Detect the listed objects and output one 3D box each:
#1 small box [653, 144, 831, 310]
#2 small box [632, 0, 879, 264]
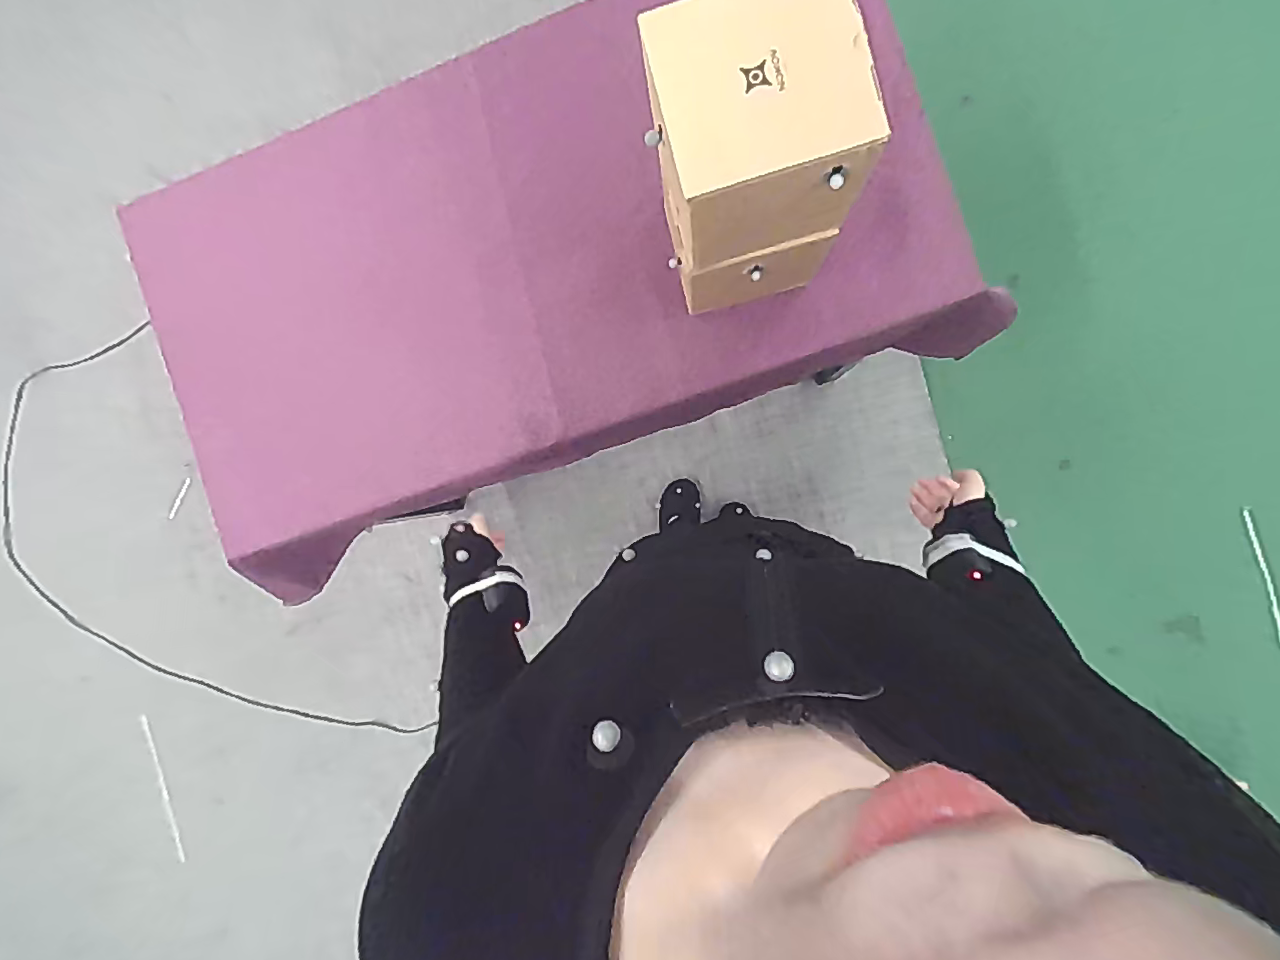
[{"bbox_3d":[0.124,-0.335,0.693,0.179,0.176,0.168,-12,90,6],"label":"small box"},{"bbox_3d":[0.104,-0.338,0.532,0.179,0.176,0.168,-15,89,6],"label":"small box"}]
